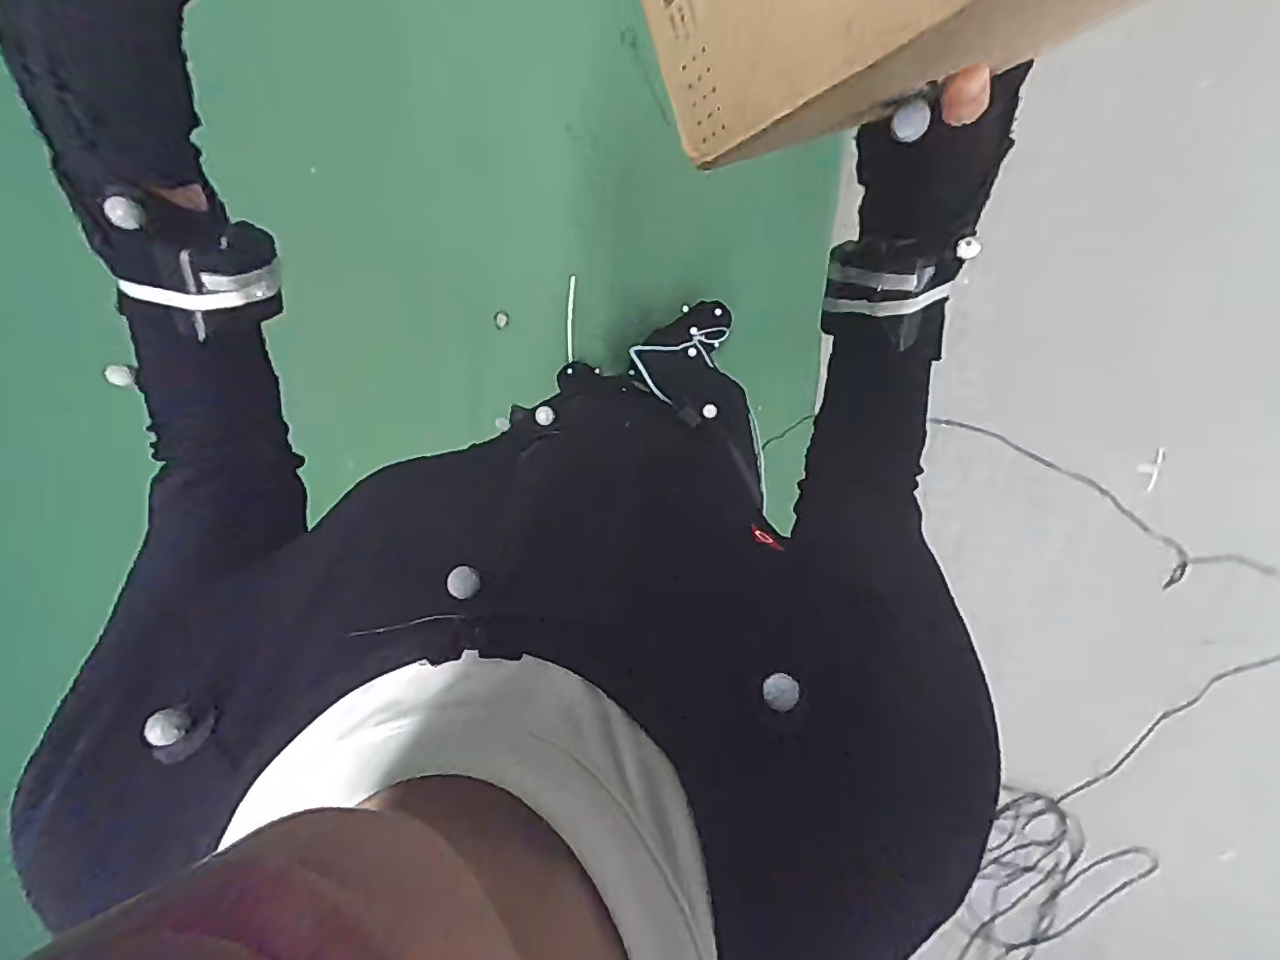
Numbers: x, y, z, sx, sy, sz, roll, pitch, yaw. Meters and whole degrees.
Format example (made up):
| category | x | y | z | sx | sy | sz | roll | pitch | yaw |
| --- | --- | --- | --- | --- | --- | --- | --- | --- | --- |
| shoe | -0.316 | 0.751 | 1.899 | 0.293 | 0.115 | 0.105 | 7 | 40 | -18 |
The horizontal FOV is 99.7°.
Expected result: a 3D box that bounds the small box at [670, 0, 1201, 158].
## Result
| category | x | y | z | sx | sy | sz | roll | pitch | yaw |
| --- | --- | --- | --- | --- | --- | --- | --- | --- | --- |
| small box | 0.115 | -0.224 | 0.160 | 0.179 | 0.176 | 0.168 | -27 | 112 | -22 |
